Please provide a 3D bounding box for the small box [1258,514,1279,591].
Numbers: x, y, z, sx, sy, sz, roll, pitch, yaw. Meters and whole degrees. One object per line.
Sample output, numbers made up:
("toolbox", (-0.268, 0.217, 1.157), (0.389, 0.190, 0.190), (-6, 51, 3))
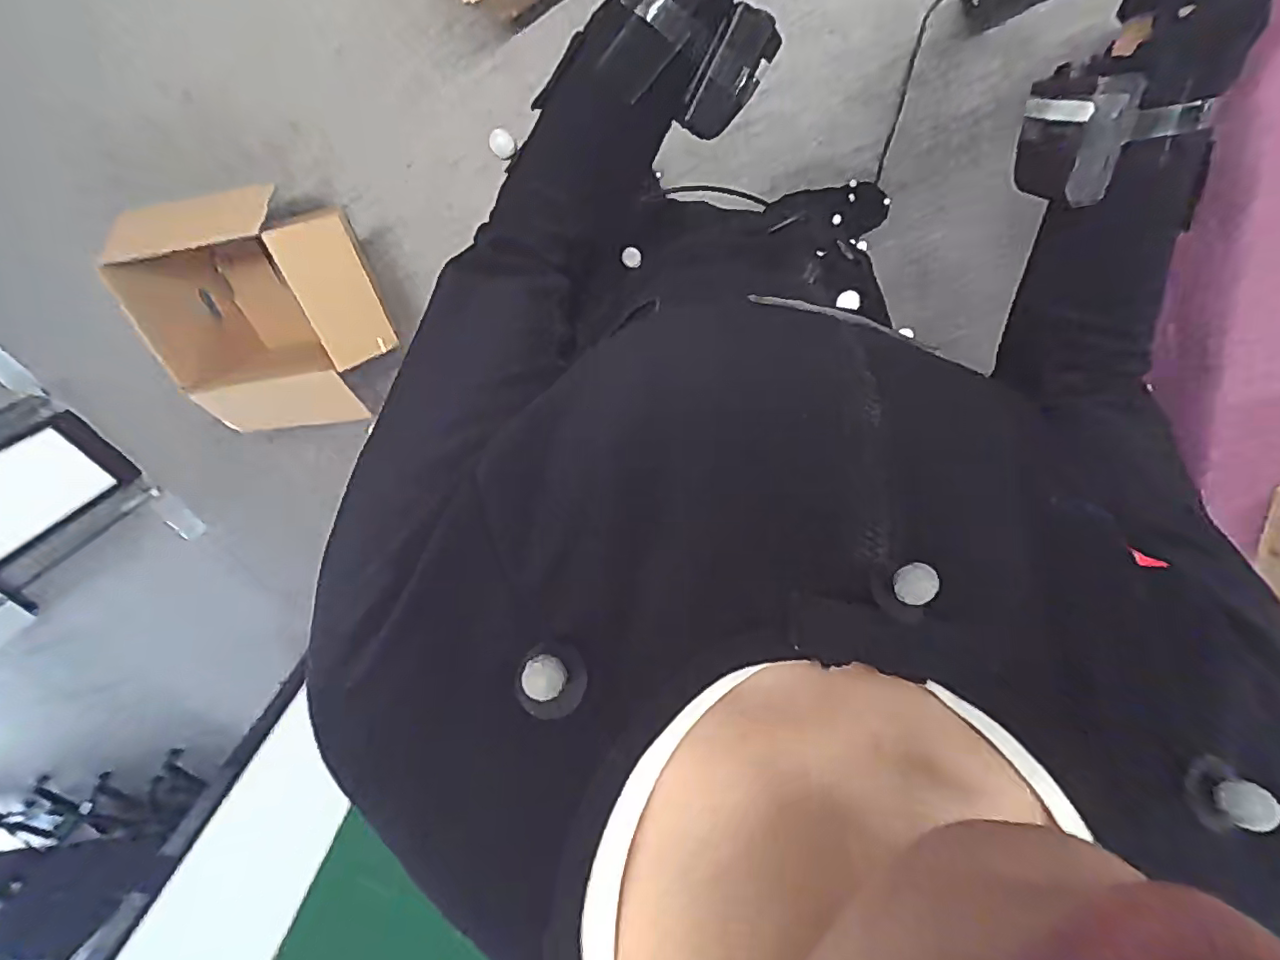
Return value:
("small box", (0.923, 0.096, 0.647), (0.179, 0.176, 0.168), (-13, 122, 17))
